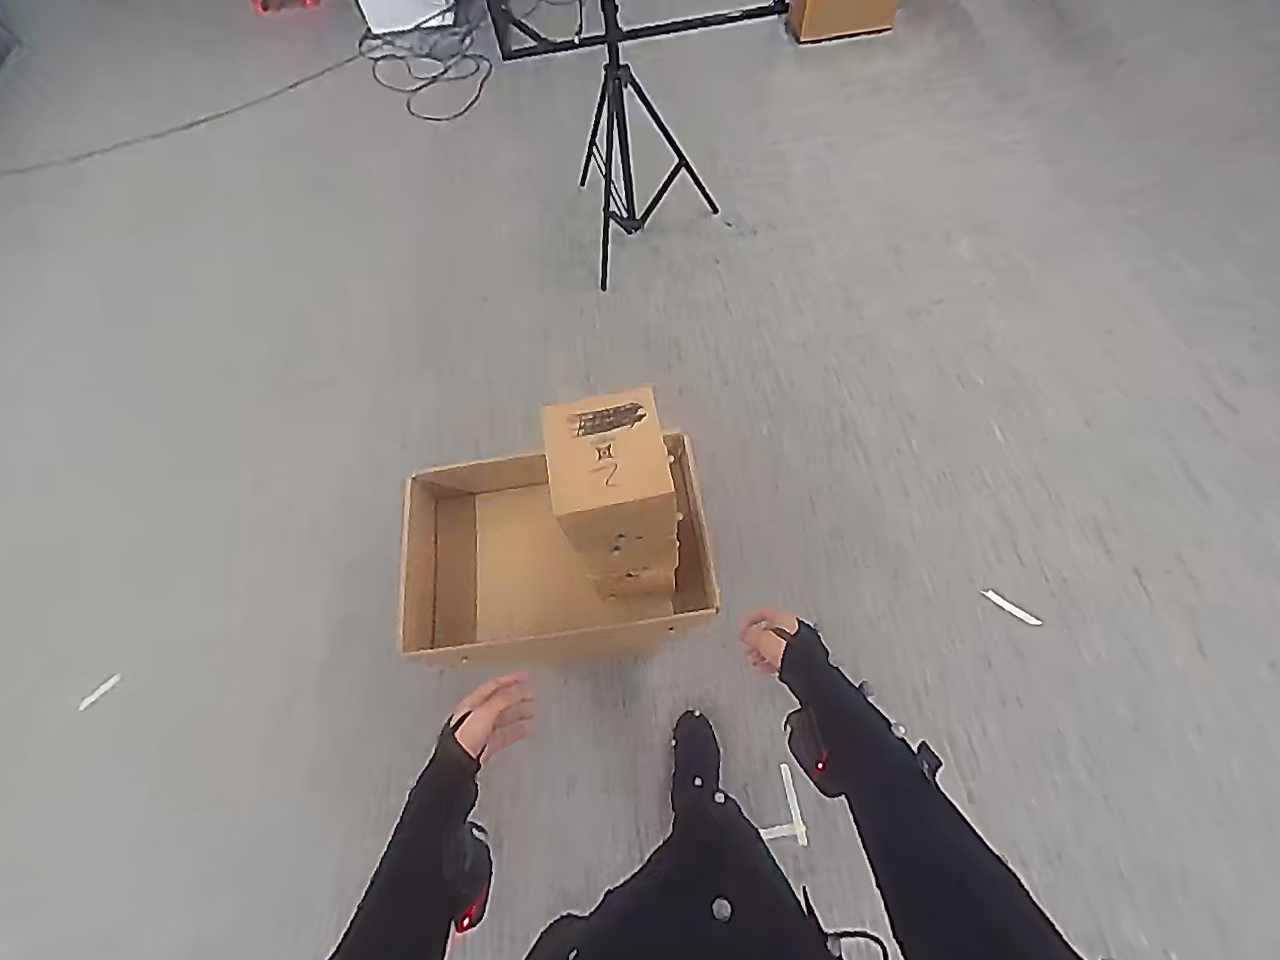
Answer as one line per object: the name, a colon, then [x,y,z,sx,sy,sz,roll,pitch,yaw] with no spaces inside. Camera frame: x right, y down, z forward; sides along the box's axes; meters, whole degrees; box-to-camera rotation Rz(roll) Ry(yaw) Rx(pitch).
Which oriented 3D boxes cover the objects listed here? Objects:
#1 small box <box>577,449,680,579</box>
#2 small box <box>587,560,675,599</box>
small box: [-0.018,0.065,0.965,0.168,0.176,0.179,-6,64,3]
small box: [-0.013,0.143,1.109,0.168,0.176,0.179,-2,64,3]
